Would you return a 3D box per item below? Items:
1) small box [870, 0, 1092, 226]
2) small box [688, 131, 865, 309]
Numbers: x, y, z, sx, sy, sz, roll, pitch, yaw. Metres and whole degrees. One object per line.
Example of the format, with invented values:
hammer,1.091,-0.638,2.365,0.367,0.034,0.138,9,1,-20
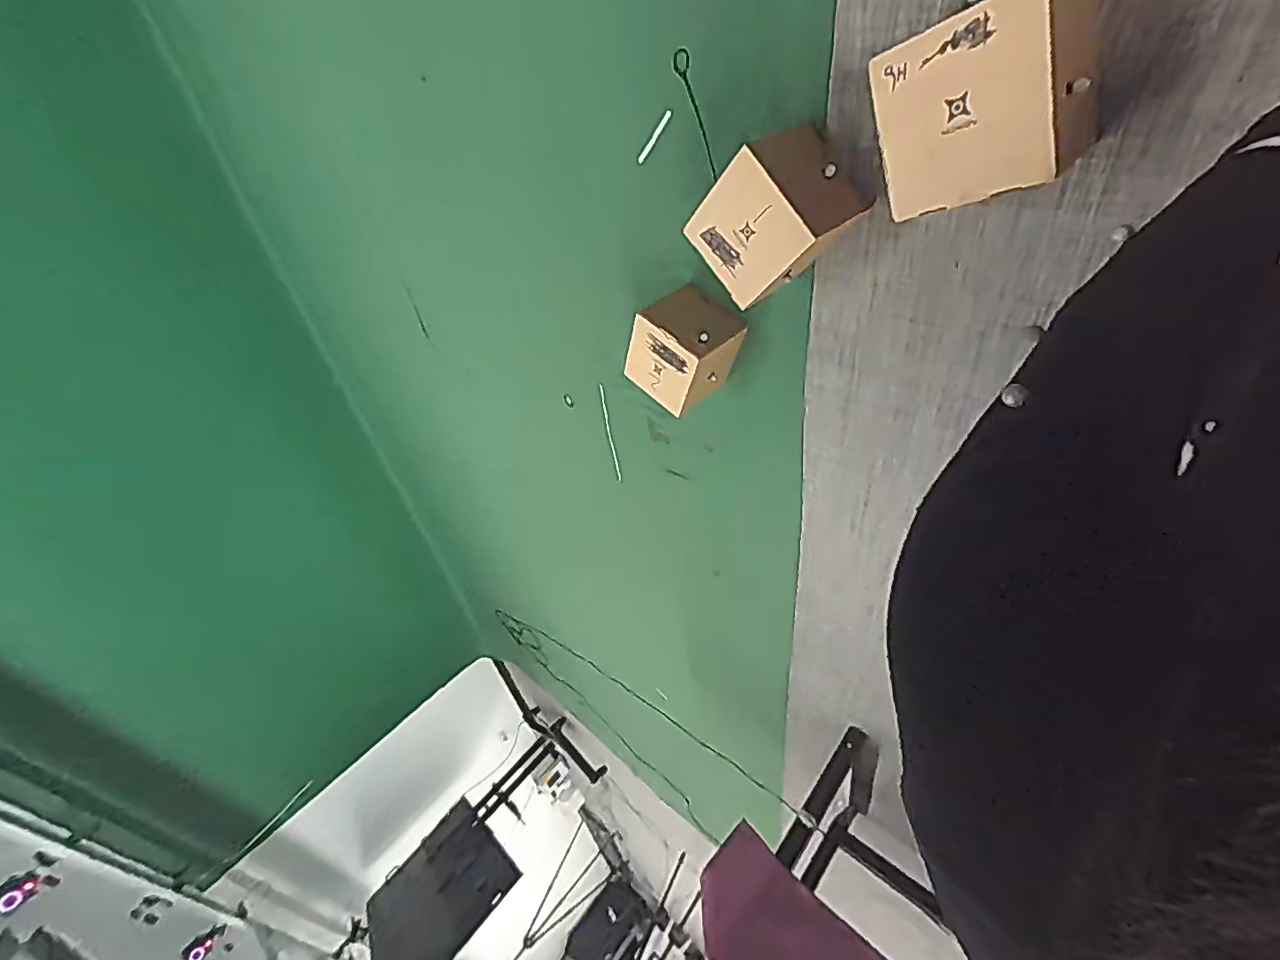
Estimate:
small box,0.392,-0.422,0.616,0.168,0.176,0.179,9,129,49
small box,0.216,-0.409,0.858,0.168,0.176,0.179,53,148,-2
